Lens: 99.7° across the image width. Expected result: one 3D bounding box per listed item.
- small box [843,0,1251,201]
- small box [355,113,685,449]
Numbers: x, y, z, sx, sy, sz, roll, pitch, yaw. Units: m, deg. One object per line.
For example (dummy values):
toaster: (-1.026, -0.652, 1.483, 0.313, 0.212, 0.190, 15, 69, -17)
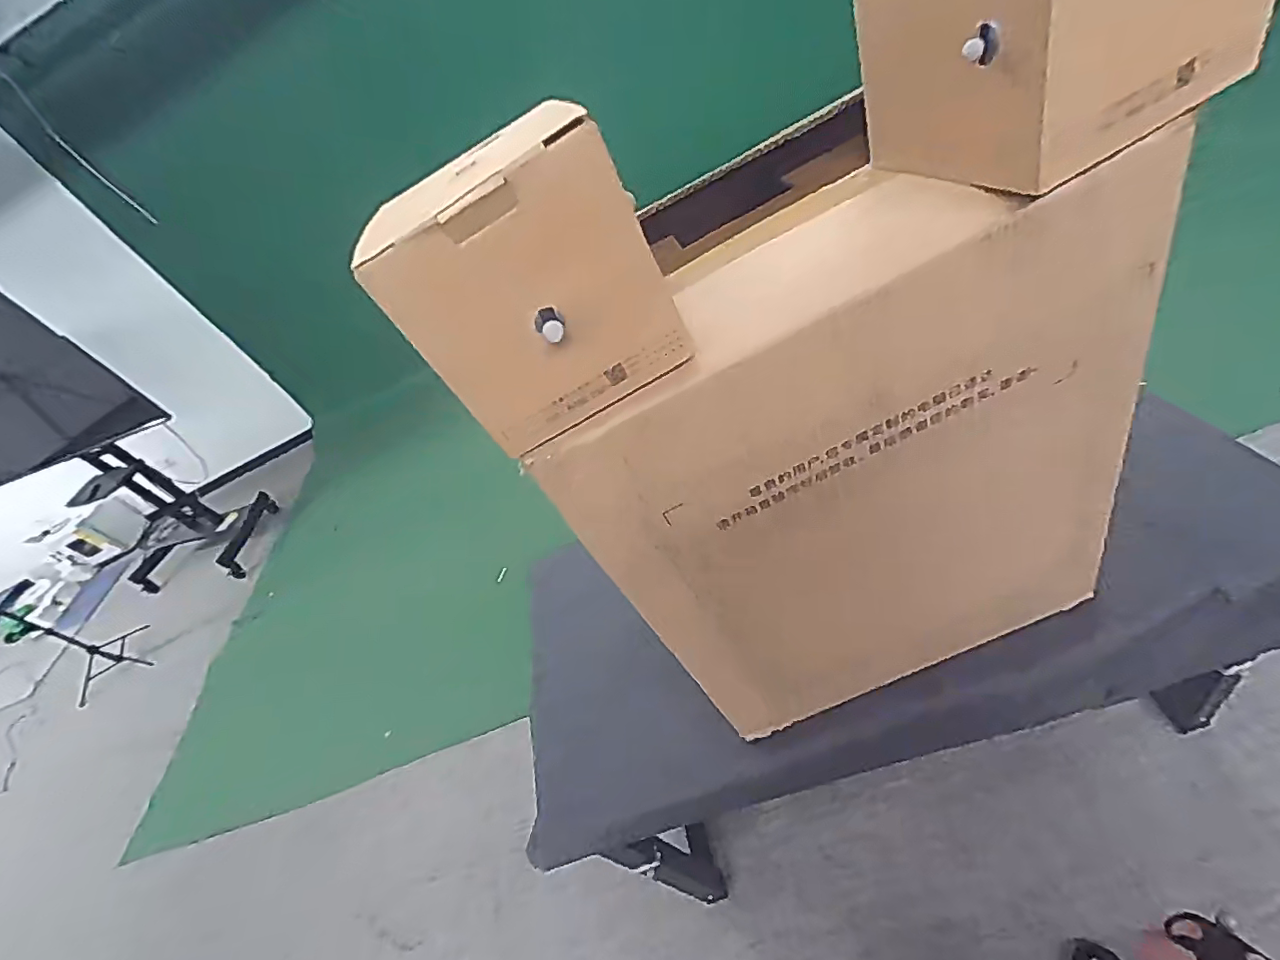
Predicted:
small box: (0.270, -0.319, 0.374, 0.168, 0.176, 0.179, -29, 39, -1)
small box: (-0.085, -0.148, 0.424, 0.168, 0.176, 0.179, -29, 40, 4)
